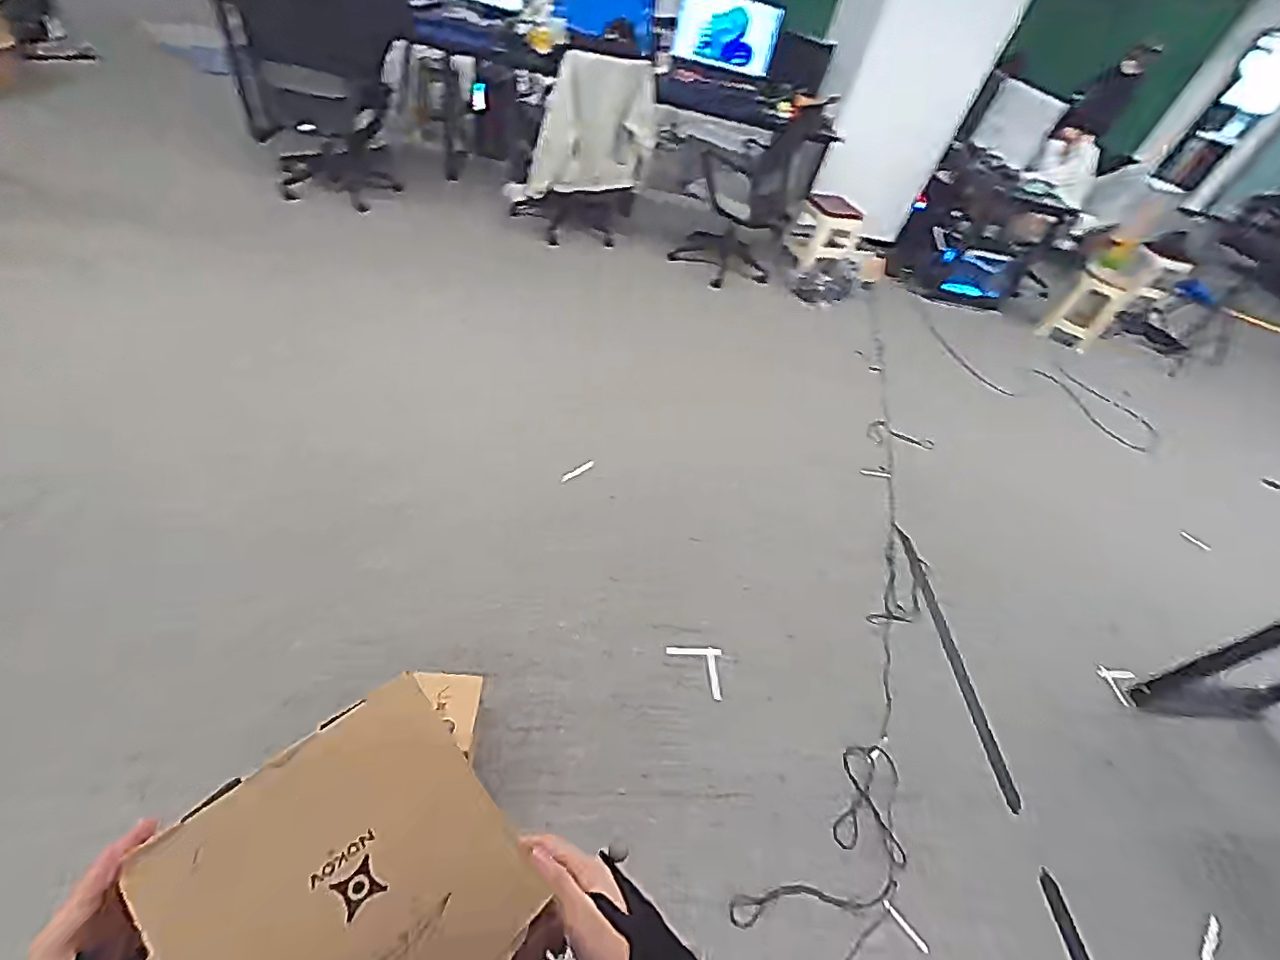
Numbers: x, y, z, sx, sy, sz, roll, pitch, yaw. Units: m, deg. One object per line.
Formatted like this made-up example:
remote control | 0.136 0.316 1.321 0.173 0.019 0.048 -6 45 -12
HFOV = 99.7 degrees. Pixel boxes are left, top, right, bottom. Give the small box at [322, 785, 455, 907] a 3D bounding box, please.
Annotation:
small box | -0.444 0.671 0.991 0.179 0.176 0.168 5 47 -10

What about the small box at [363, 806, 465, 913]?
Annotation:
small box | -0.468 0.779 1.112 0.179 0.176 0.168 9 47 -8
